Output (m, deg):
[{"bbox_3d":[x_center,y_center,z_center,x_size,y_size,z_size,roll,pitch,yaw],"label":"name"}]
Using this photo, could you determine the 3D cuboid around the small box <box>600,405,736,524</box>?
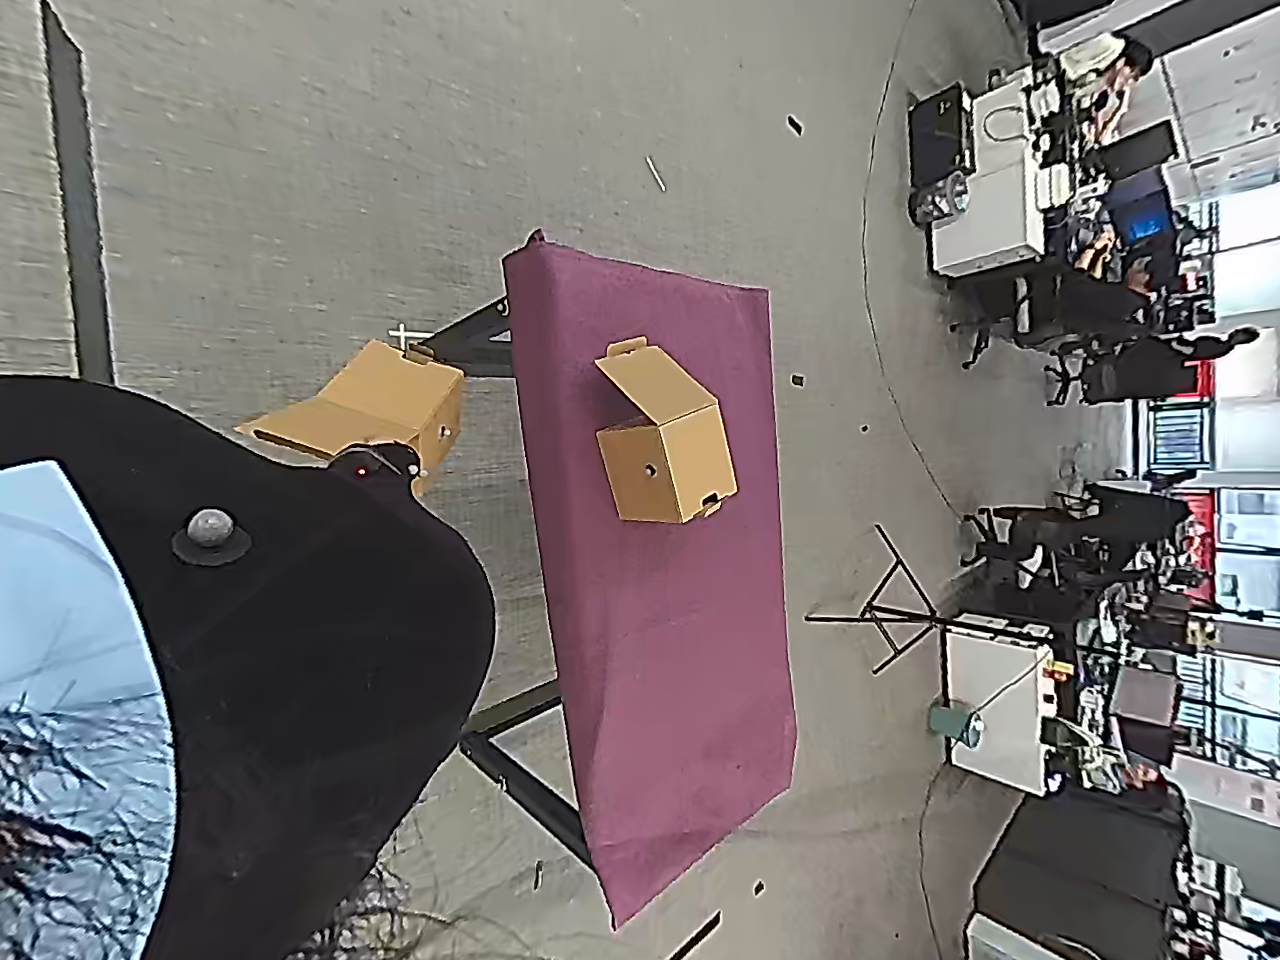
[{"bbox_3d":[0.048,-0.029,0.998,0.168,0.176,0.179,-25,107,-39],"label":"small box"}]
